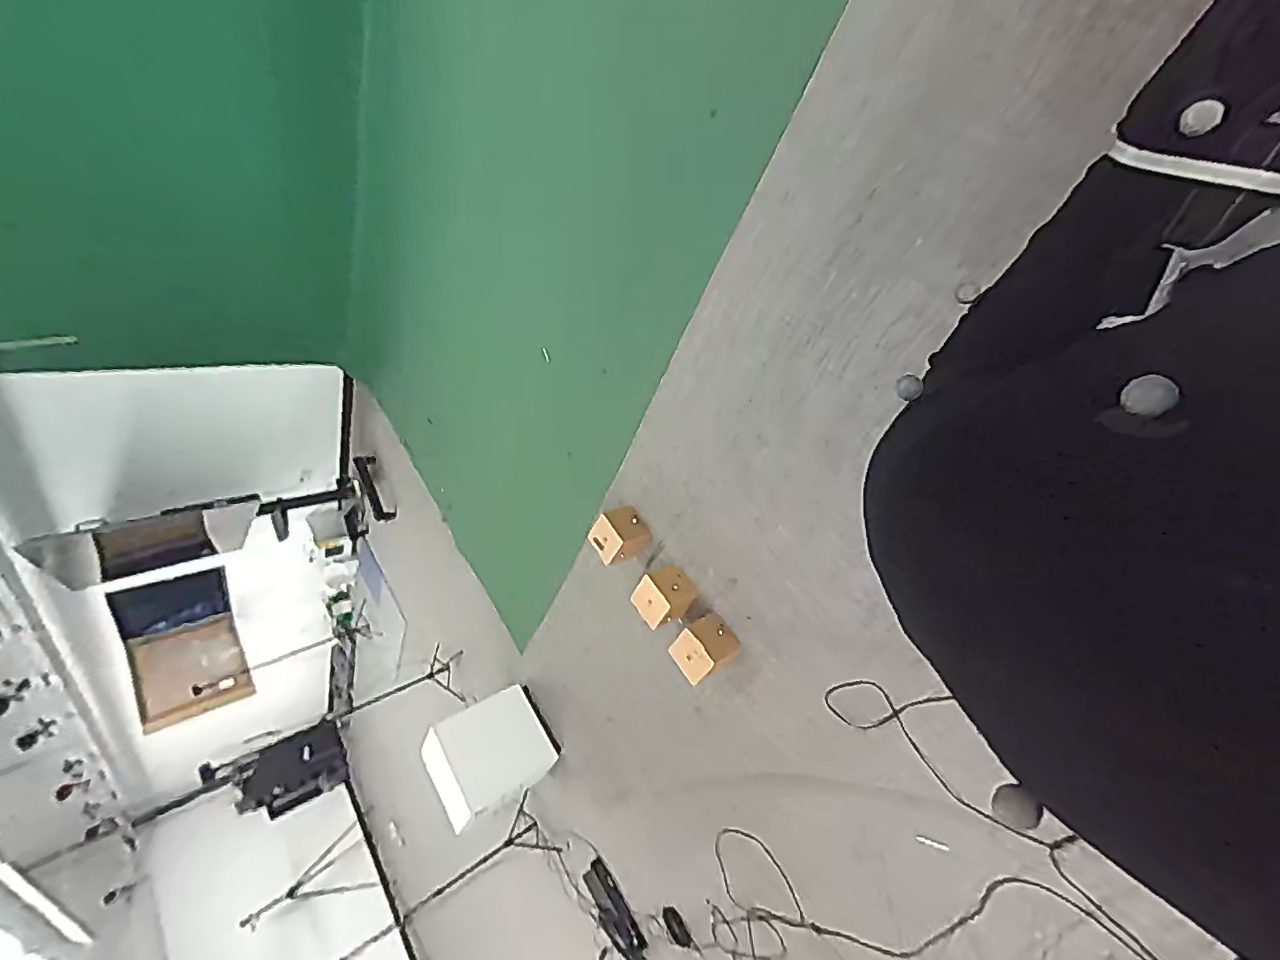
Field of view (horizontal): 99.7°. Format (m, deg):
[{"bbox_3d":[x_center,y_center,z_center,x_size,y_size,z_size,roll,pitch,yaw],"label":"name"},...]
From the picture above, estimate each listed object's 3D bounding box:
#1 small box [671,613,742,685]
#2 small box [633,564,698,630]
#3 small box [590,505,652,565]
[{"bbox_3d":[0.252,0.633,2.034,0.168,0.176,0.179,50,132,26],"label":"small box"},{"bbox_3d":[0.108,0.460,2.153,0.168,0.176,0.179,50,133,27],"label":"small box"},{"bbox_3d":[-0.077,0.231,2.295,0.168,0.176,0.179,53,132,24],"label":"small box"}]
